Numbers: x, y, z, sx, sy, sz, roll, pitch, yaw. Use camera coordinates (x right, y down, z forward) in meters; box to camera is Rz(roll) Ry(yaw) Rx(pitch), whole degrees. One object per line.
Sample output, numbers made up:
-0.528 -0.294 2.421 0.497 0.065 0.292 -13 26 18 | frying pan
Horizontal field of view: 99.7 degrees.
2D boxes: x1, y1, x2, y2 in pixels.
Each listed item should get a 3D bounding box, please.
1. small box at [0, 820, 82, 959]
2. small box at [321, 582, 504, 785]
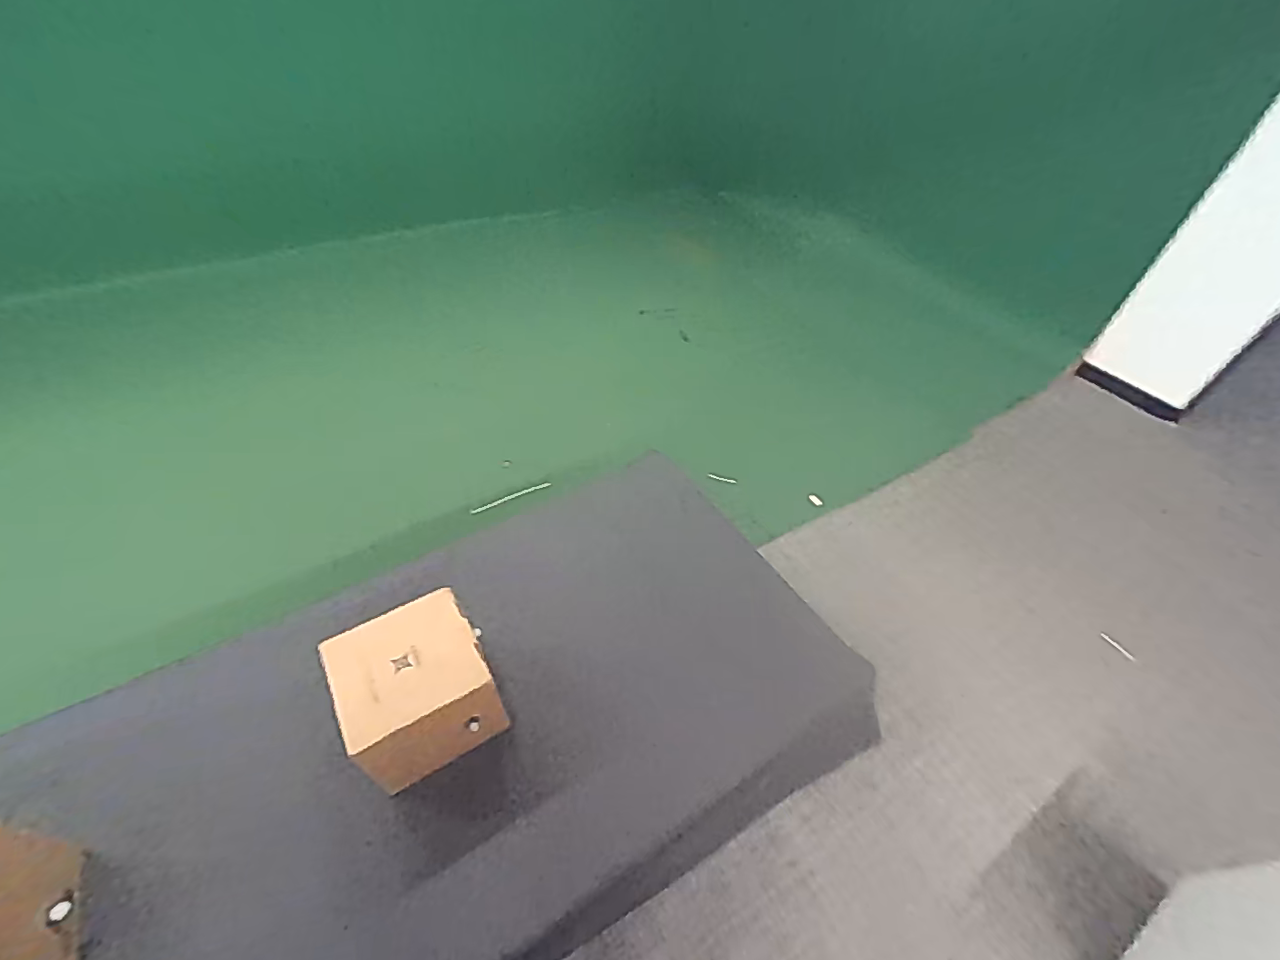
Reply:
-0.712 0.473 0.526 0.179 0.176 0.168 -23 54 -25 | small box
-0.299 0.279 0.743 0.179 0.176 0.168 -25 53 -23 | small box
